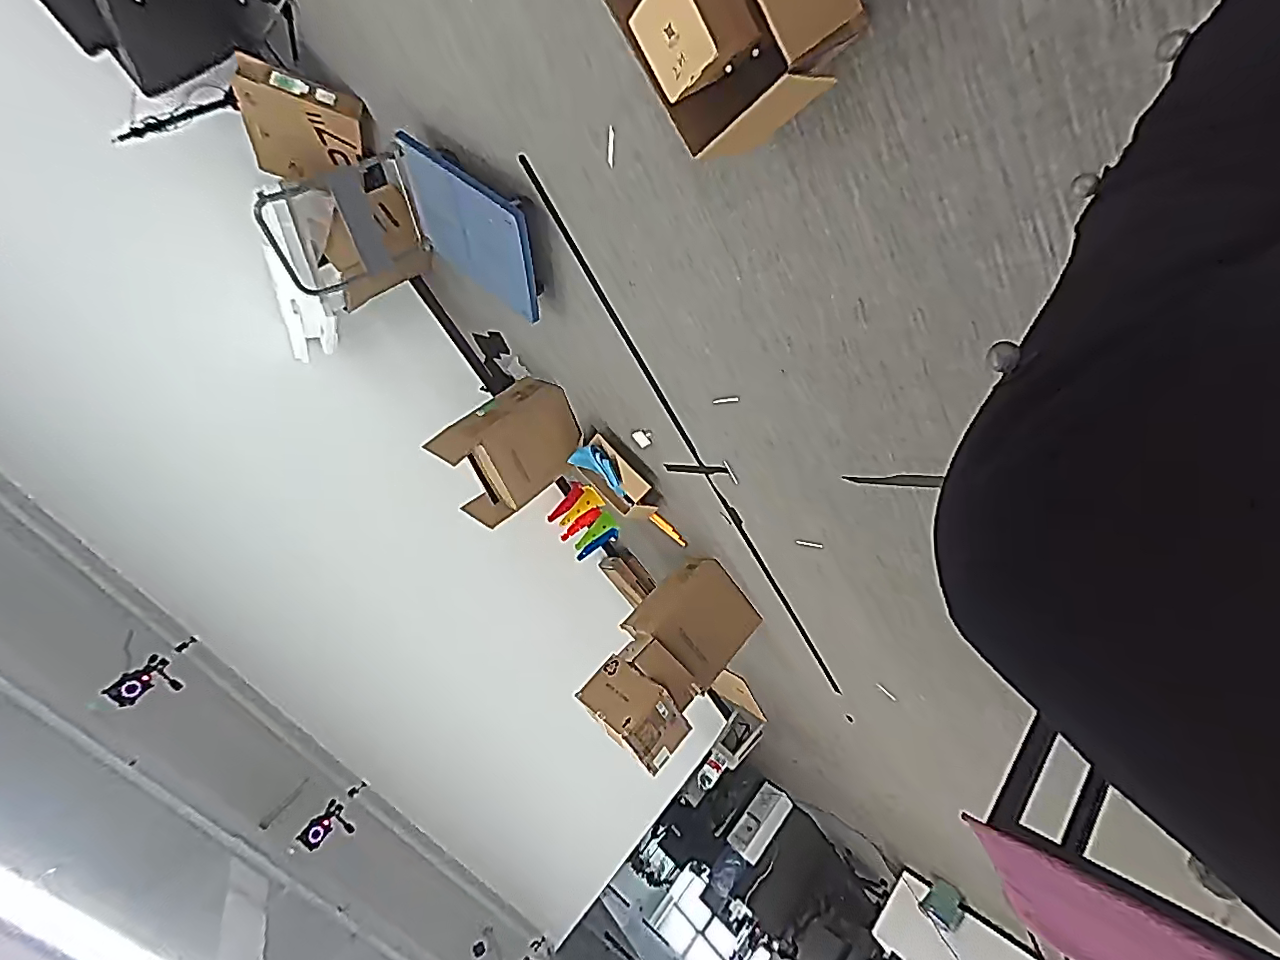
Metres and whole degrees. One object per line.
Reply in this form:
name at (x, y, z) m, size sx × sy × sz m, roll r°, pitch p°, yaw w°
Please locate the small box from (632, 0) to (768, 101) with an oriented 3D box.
small box at (0.123, -0.928, 1.098) m, size 0.179 × 0.176 × 0.168 m, roll 56°, pitch 156°, yaw -18°
